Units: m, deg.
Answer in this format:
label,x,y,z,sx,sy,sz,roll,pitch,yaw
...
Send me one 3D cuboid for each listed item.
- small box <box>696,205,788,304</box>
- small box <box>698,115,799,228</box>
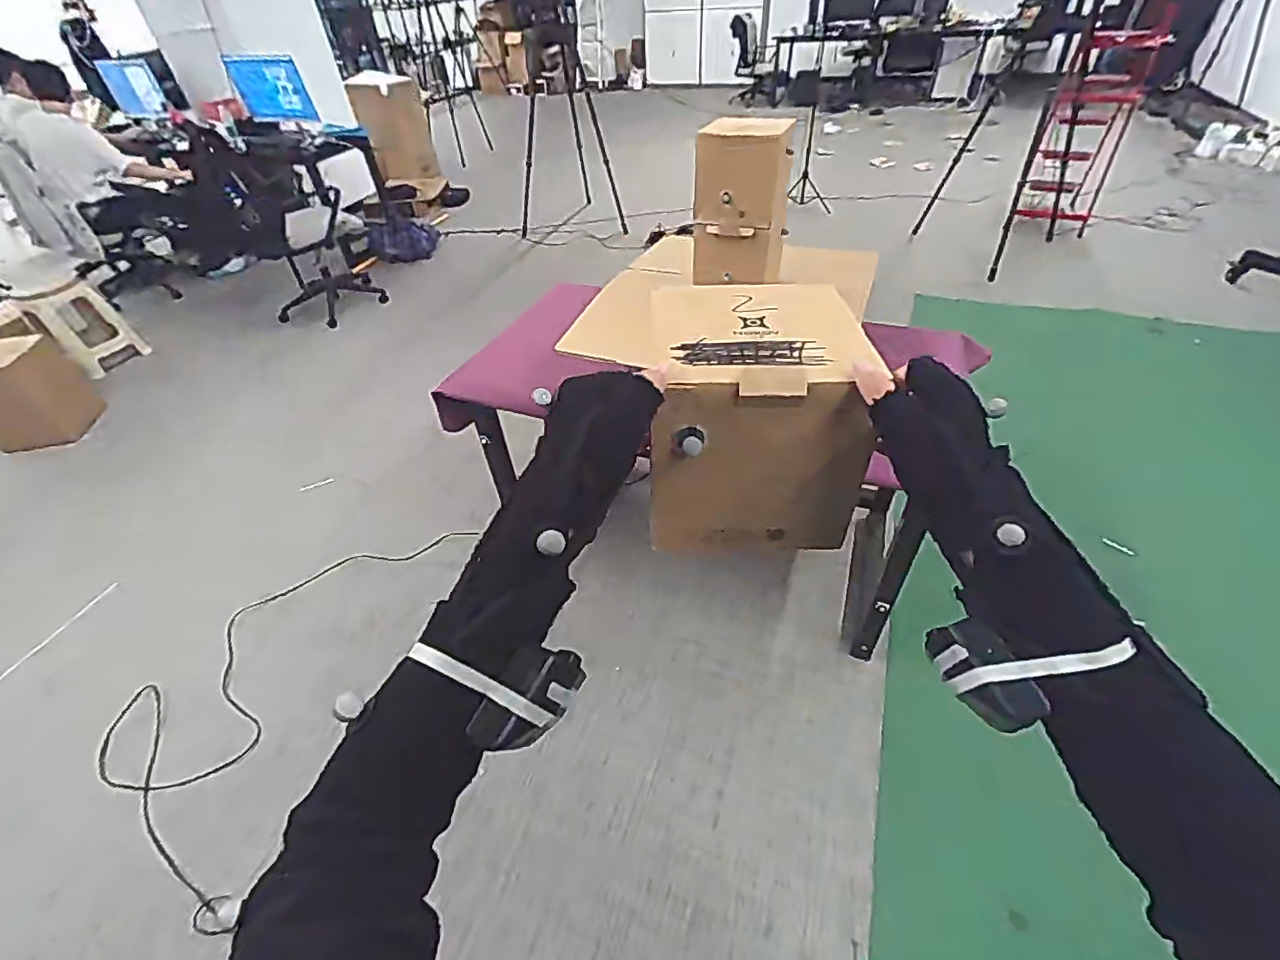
label,x,y,z,sx,sy,sz,roll,pitch,yaw
small box,0.229,-0.526,1.241,0.168,0.176,0.179,15,45,19
small box,0.223,-0.648,1.132,0.168,0.176,0.179,14,45,17
